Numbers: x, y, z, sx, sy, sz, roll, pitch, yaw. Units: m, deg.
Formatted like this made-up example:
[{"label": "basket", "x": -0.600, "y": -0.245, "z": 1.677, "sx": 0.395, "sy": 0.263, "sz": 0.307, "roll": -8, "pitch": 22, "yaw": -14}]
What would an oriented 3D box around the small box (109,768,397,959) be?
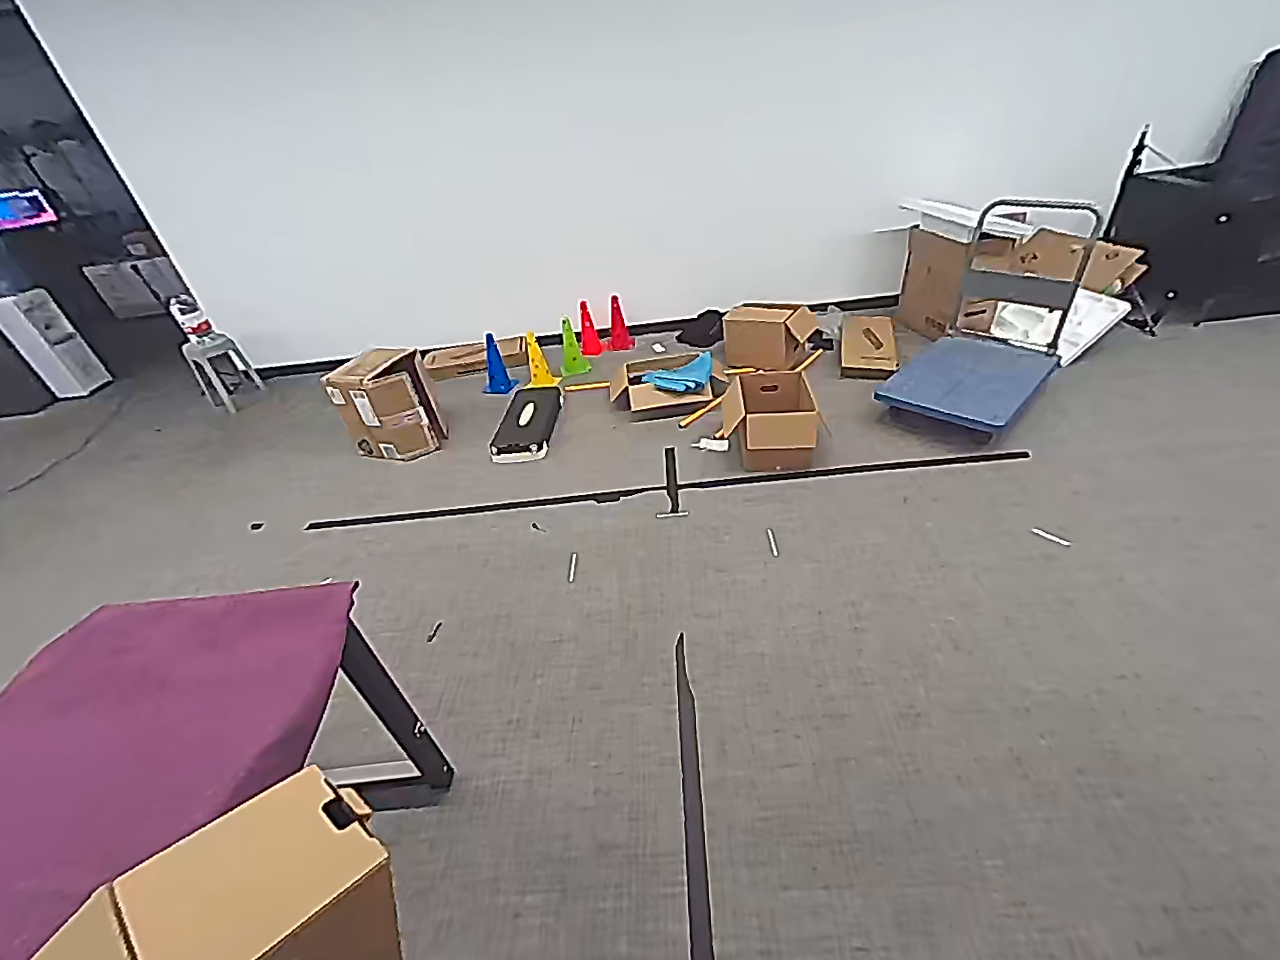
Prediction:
[{"label": "small box", "x": -0.361, "y": 0.440, "z": 0.526, "sx": 0.168, "sy": 0.176, "sz": 0.179, "roll": 19, "pitch": 24, "yaw": 34}]
